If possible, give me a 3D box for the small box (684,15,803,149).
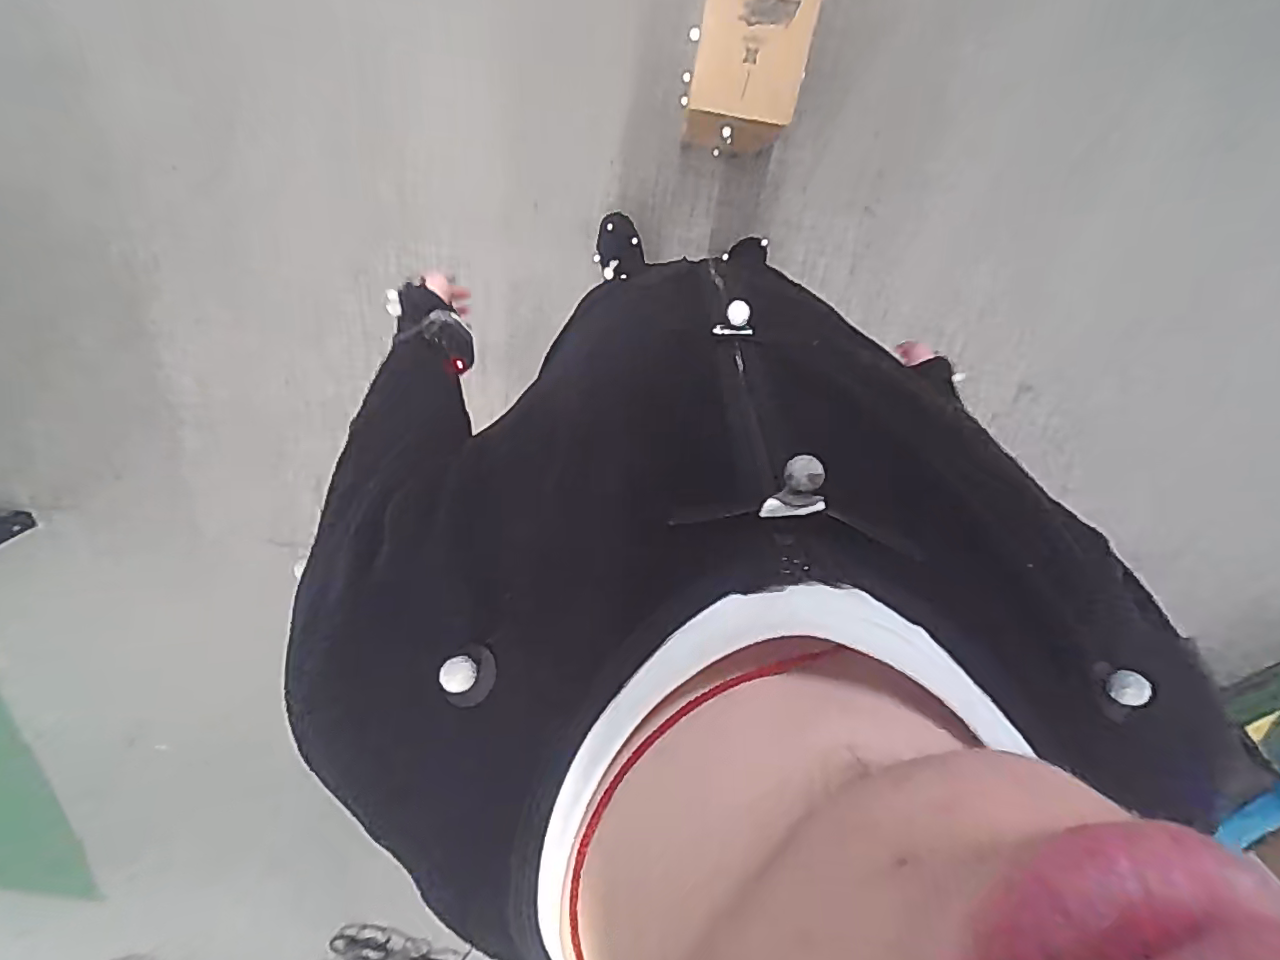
[{"bbox_3d":[0.185,-0.743,1.030,0.179,0.176,0.168,8,117,-3],"label":"small box"}]

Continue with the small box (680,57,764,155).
[{"bbox_3d":[0.189,-0.819,1.174,0.179,0.176,0.168,9,116,-3],"label":"small box"}]
